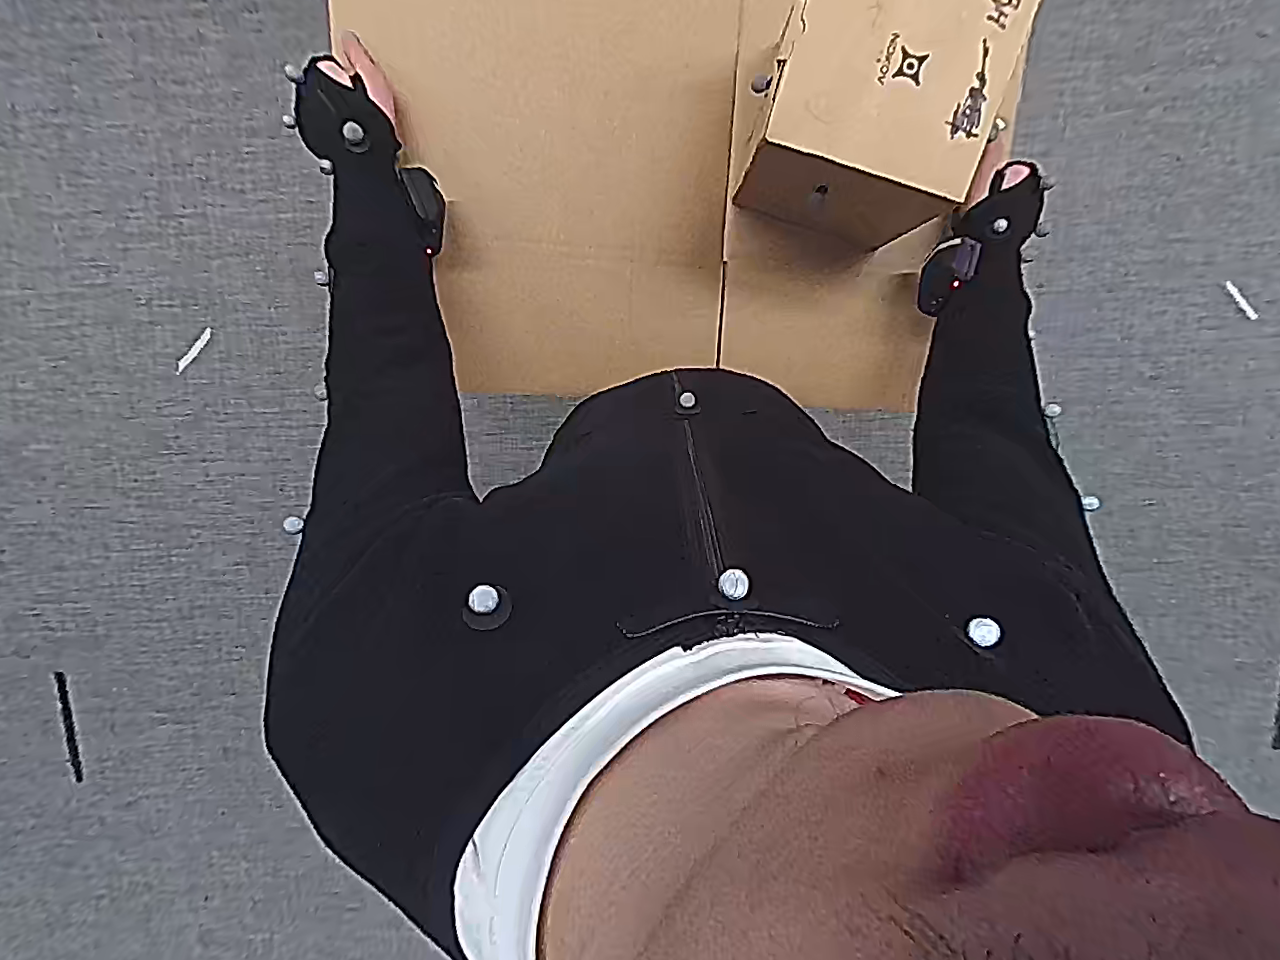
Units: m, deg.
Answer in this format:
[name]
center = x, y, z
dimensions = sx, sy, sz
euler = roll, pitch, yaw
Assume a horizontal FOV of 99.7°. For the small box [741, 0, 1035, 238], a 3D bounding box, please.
[small box]
center = 0.207, -0.348, 0.507
dimensions = 0.179, 0.176, 0.168
euler = 17, 101, -1
